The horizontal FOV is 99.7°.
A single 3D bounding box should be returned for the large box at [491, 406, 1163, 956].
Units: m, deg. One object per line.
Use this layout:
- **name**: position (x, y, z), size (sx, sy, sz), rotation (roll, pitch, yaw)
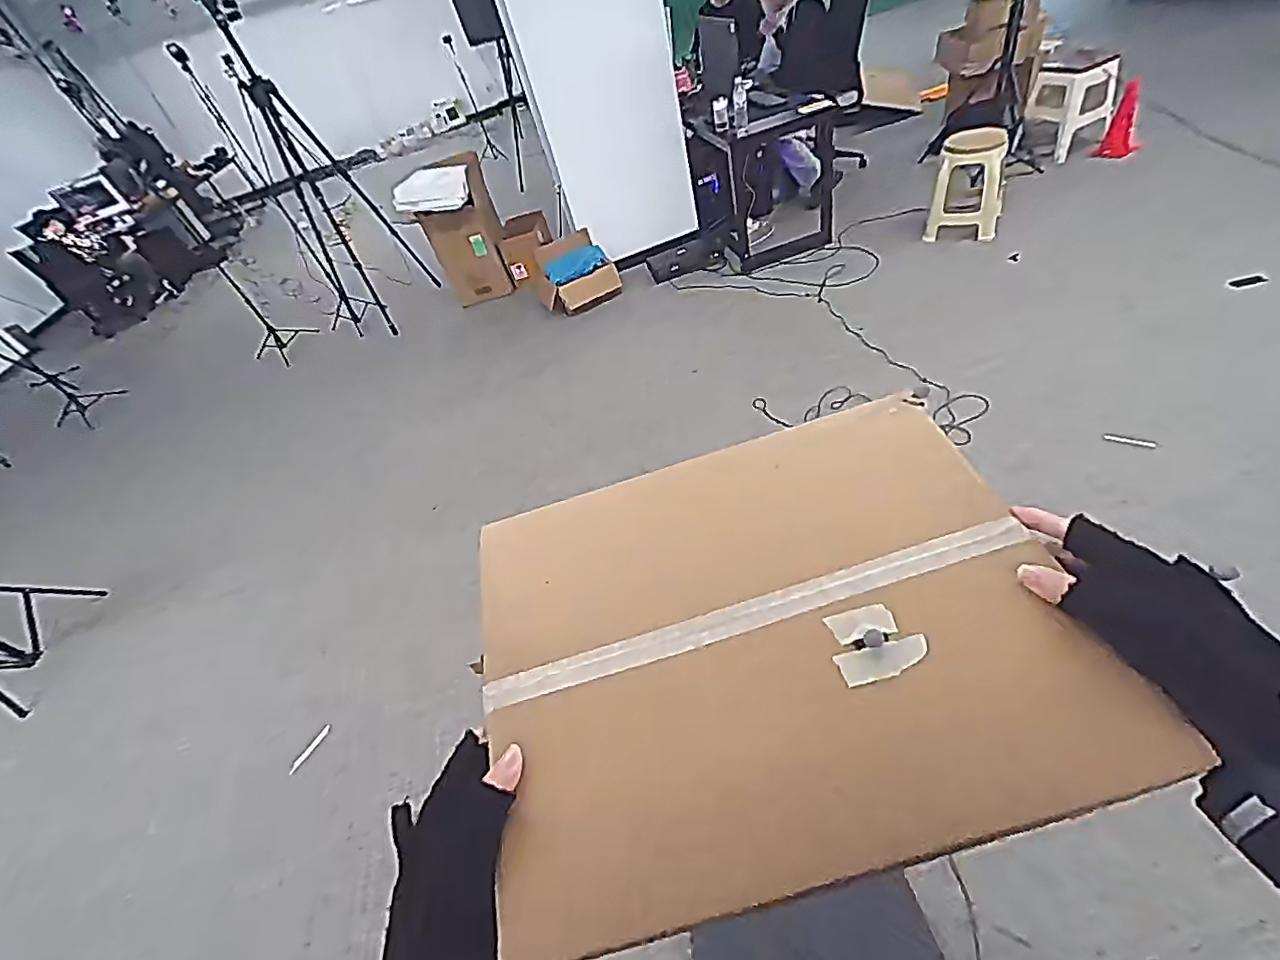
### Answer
- **large box**: position (0.112, 0.194, 0.522), size (0.408, 0.320, 0.320), rotation (-18, 51, 1)
